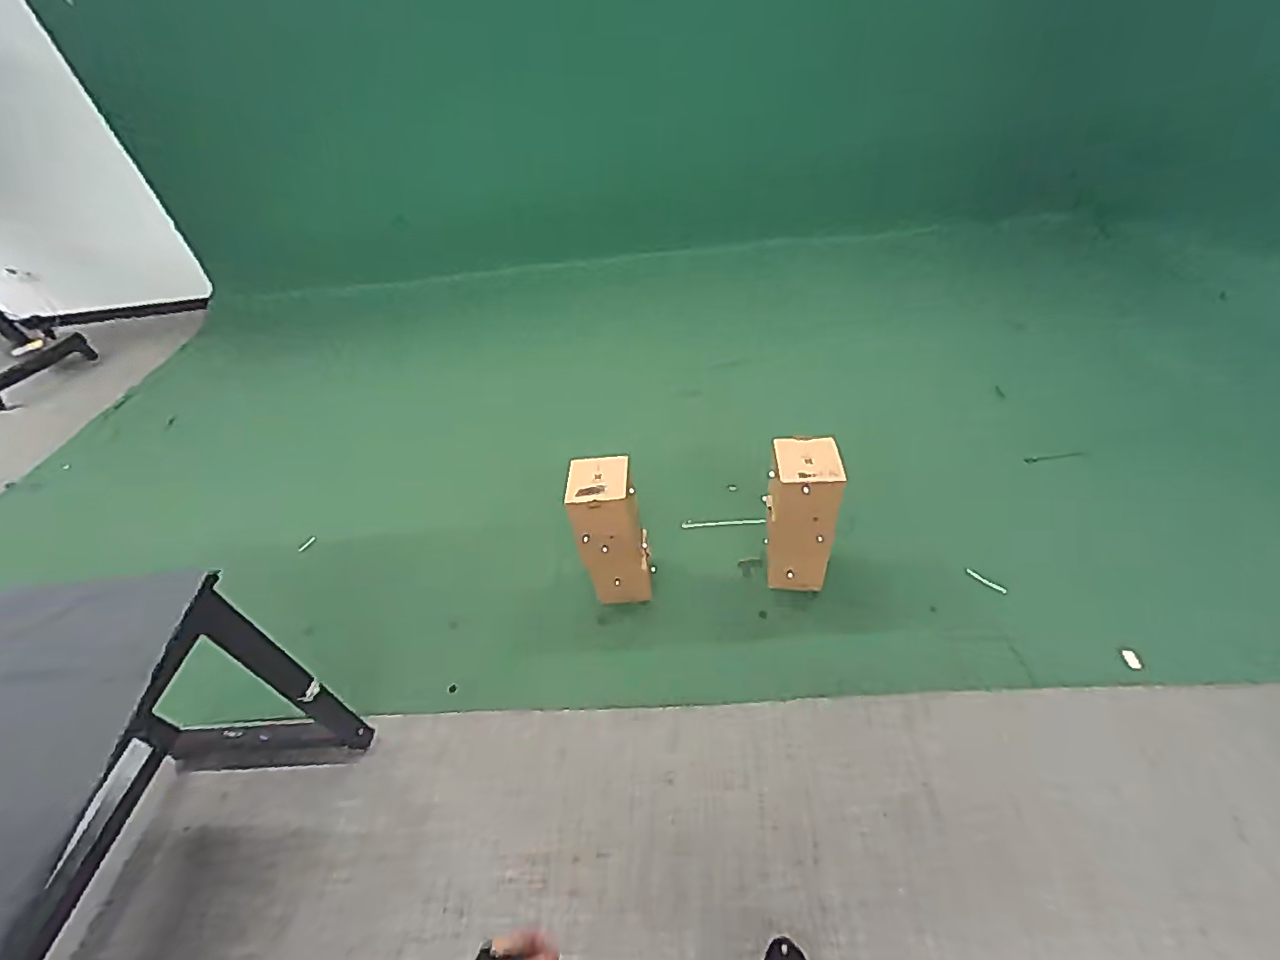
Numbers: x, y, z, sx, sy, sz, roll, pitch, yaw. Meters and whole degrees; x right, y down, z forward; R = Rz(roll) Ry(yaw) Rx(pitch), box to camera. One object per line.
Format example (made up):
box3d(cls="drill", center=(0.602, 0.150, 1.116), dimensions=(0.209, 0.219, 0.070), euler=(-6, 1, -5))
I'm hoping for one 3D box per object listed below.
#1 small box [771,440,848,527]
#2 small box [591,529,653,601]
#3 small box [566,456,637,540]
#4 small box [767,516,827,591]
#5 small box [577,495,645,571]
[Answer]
box3d(cls="small box", center=(0.458, 0.008, 1.489), dimensions=(0.168, 0.176, 0.179), euler=(-1, 43, 6))
box3d(cls="small box", center=(-0.054, 0.279, 1.754), dimensions=(0.179, 0.176, 0.168), euler=(-4, 45, 4))
box3d(cls="small box", center=(-0.100, 0.056, 1.520), dimensions=(0.168, 0.176, 0.179), euler=(-4, 44, 6))
box3d(cls="small box", center=(0.497, 0.236, 1.723), dimensions=(0.168, 0.176, 0.179), euler=(2, 44, 10))
box3d(cls="small box", center=(-0.083, 0.165, 1.643), dimensions=(0.179, 0.176, 0.168), euler=(-3, 45, 5))
